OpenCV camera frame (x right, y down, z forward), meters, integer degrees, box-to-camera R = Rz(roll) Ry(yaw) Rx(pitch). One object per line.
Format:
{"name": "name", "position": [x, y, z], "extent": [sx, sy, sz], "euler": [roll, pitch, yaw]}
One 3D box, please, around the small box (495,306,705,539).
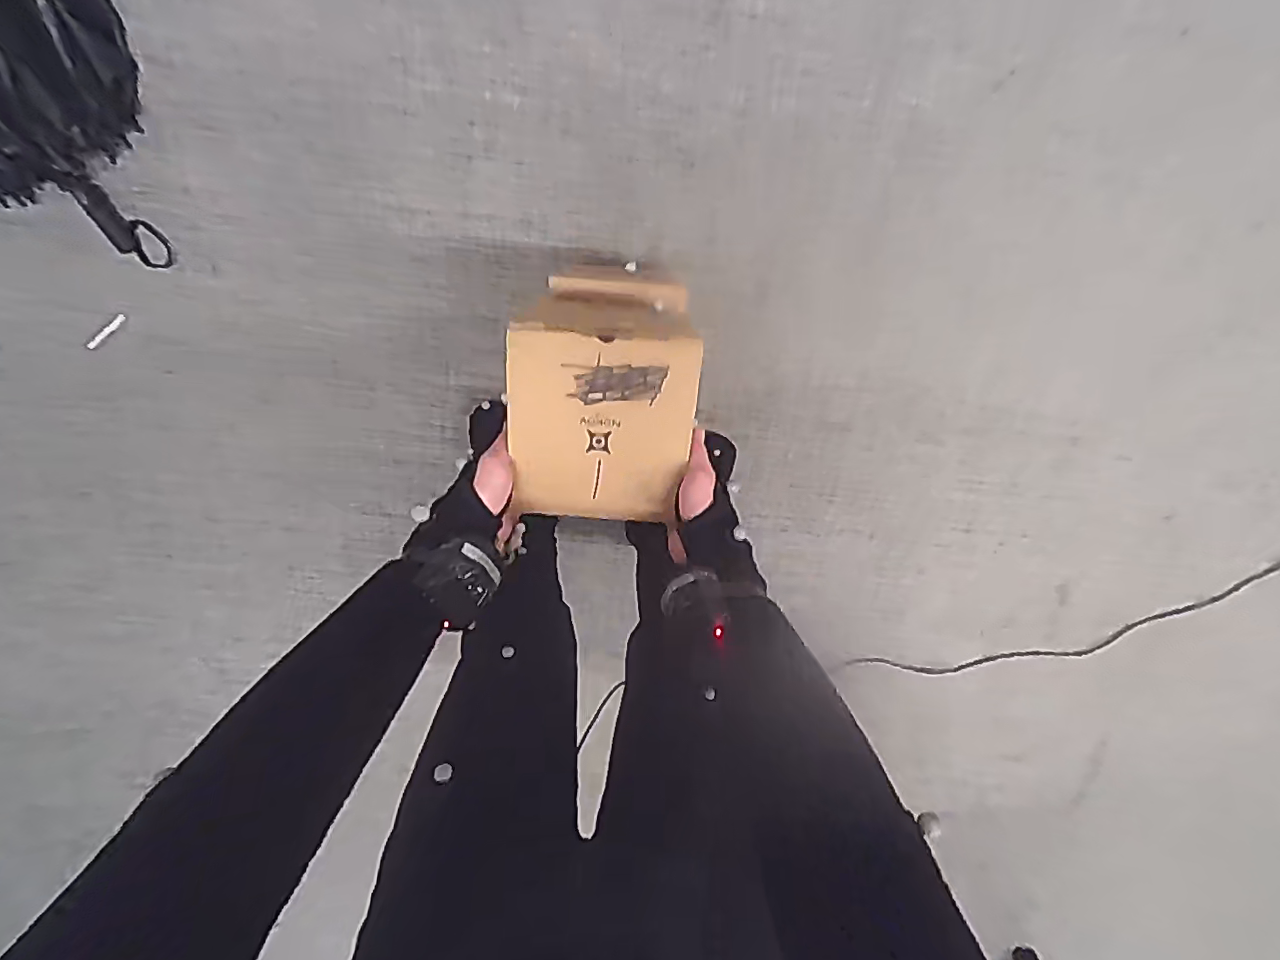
{"name": "small box", "position": [-0.040, -0.064, 0.522], "extent": [0.168, 0.176, 0.179], "euler": [4, 117, -3]}

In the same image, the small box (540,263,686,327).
{"name": "small box", "position": [-0.036, -0.180, 0.705], "extent": [0.168, 0.176, 0.179], "euler": [3, 114, -3]}

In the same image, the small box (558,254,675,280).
{"name": "small box", "position": [-0.037, -0.252, 0.851], "extent": [0.168, 0.176, 0.179], "euler": [3, 116, -1]}
